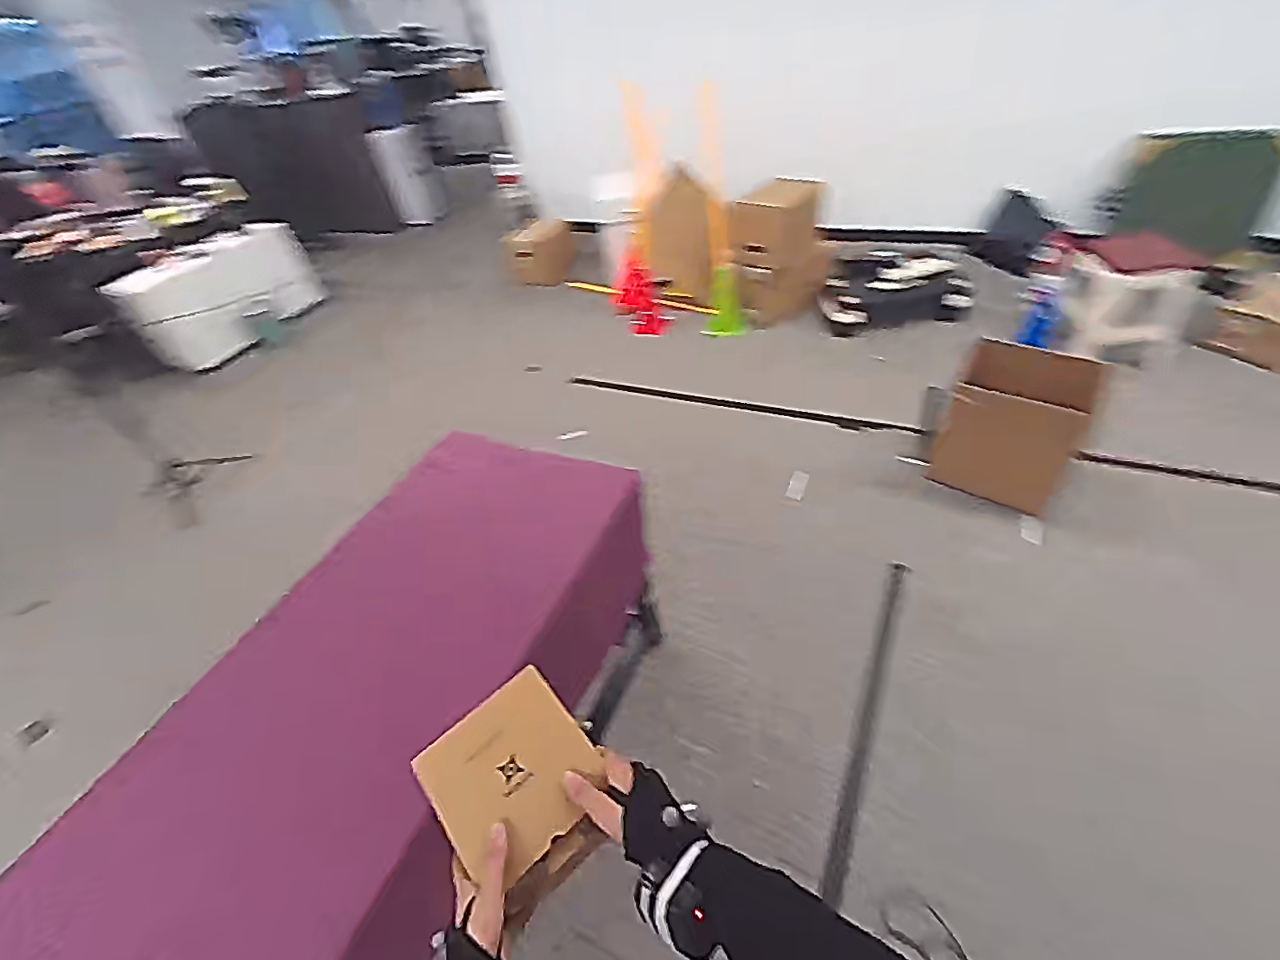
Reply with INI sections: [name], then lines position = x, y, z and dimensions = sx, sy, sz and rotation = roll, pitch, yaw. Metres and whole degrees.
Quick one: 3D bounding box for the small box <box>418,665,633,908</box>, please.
[small box]
position = -0.125, 0.363, 0.646
dimensions = 0.168, 0.176, 0.179
rotation = -35, 55, -21
